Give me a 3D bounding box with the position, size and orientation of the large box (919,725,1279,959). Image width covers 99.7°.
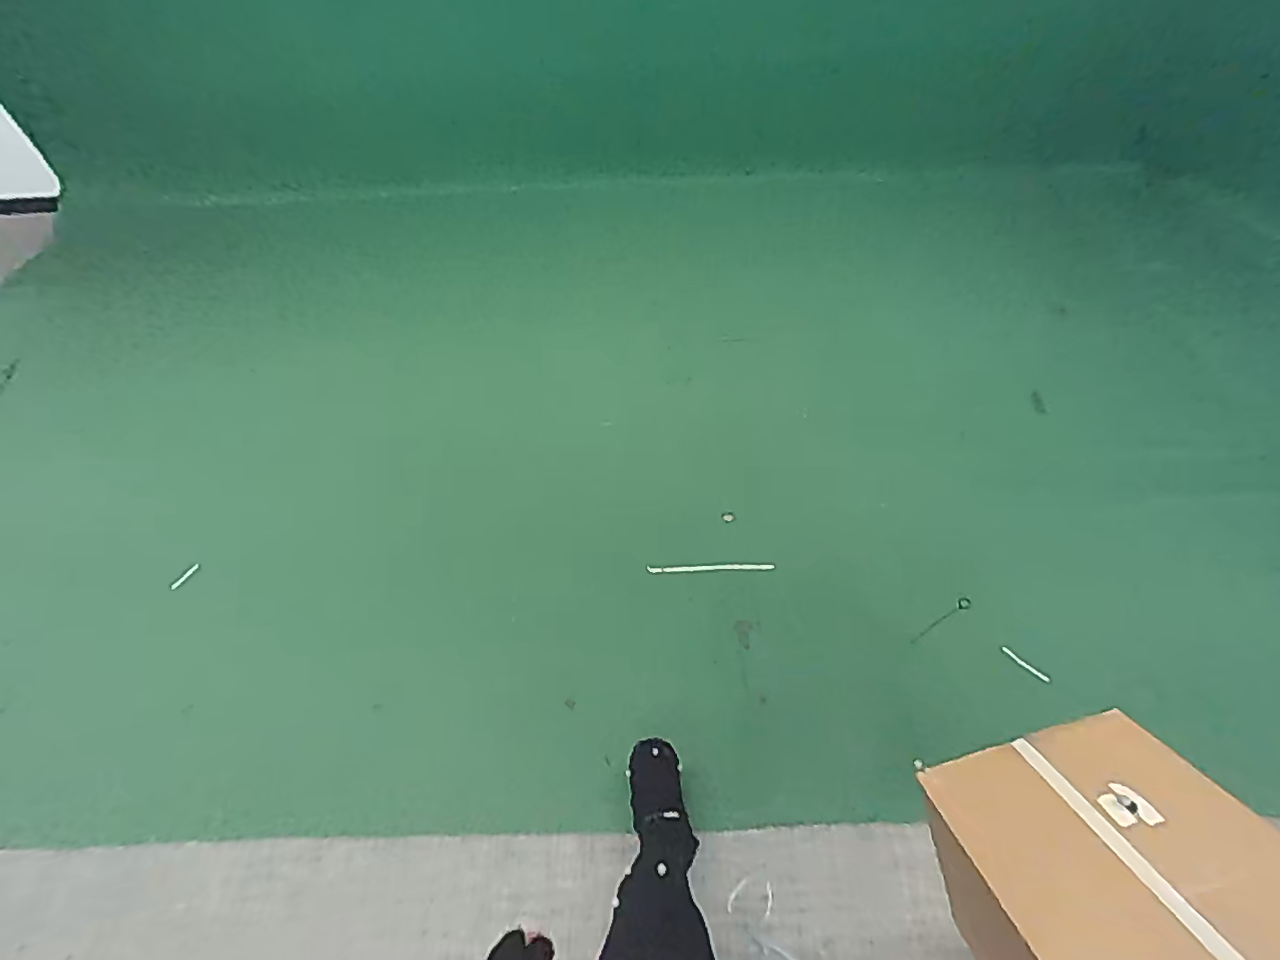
[{"bbox_3d":[0.623,0.598,0.656,0.320,0.320,0.408,-19,14,3],"label":"large box"}]
